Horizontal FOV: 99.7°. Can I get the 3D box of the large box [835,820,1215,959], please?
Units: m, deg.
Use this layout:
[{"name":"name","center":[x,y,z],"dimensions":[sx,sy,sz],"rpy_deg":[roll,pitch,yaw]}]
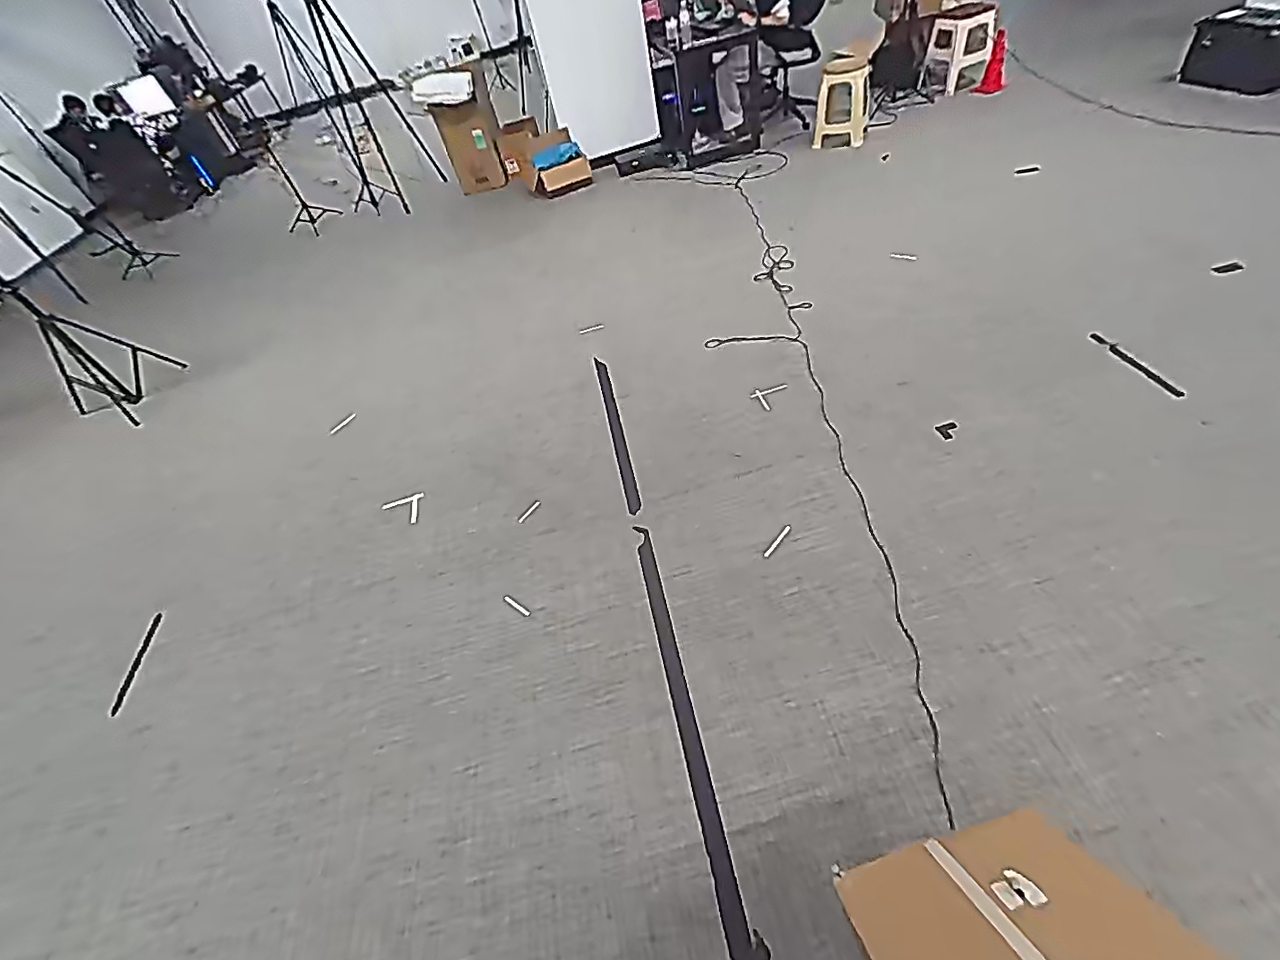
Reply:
[{"name":"large box","center":[0.482,0.680,0.598],"dimensions":[0.320,0.408,0.320],"rpy_deg":[-18,84,-1]}]
